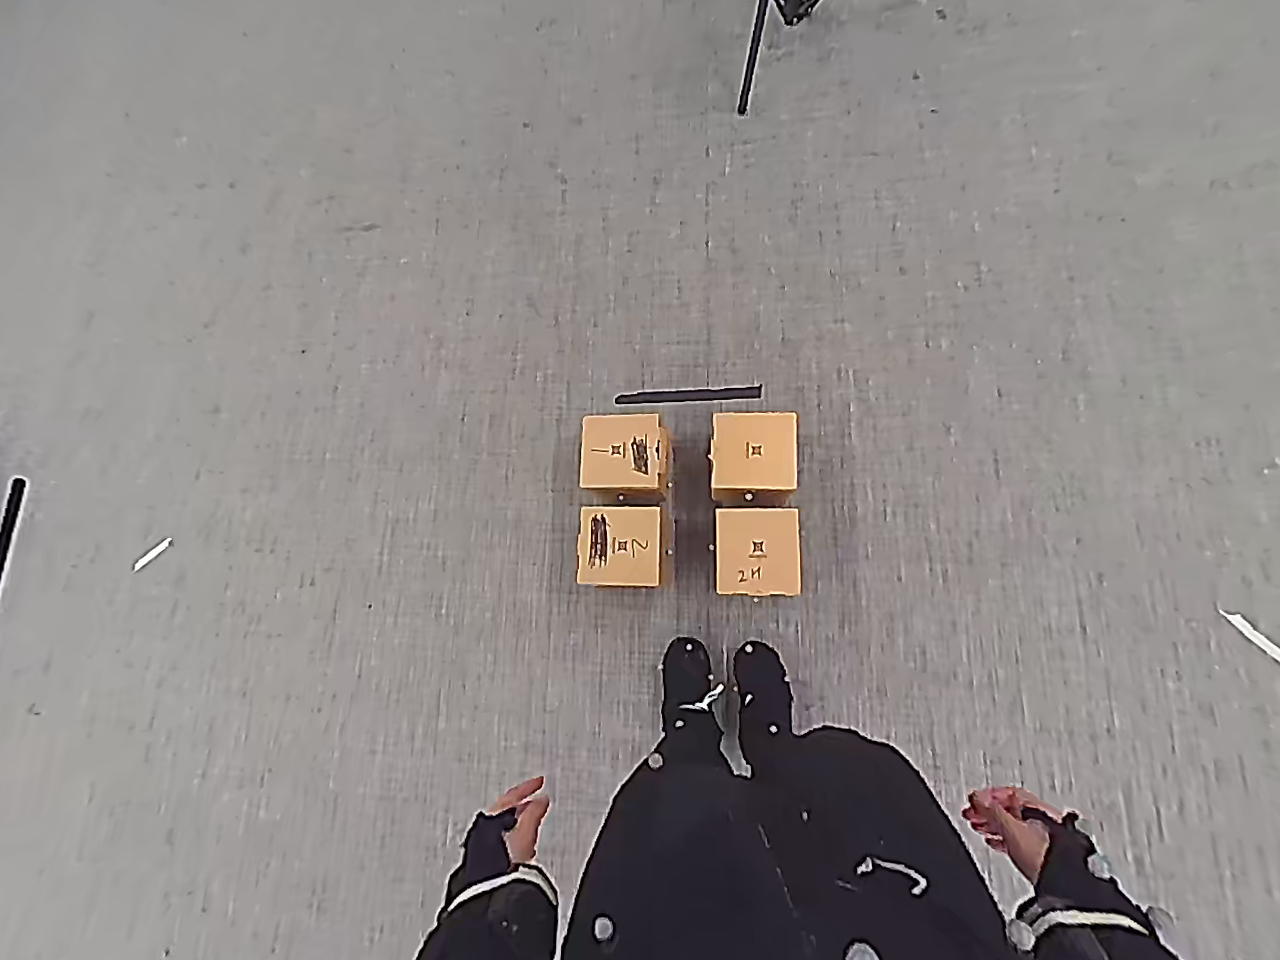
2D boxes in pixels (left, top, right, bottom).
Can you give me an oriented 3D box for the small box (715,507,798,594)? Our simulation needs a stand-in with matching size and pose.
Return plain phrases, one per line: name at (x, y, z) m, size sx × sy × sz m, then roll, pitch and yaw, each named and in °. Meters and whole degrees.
small box at (0.247, 0.157, 1.173) m, size 0.168 × 0.176 × 0.179 m, roll -1°, pitch 79°, yaw 9°
